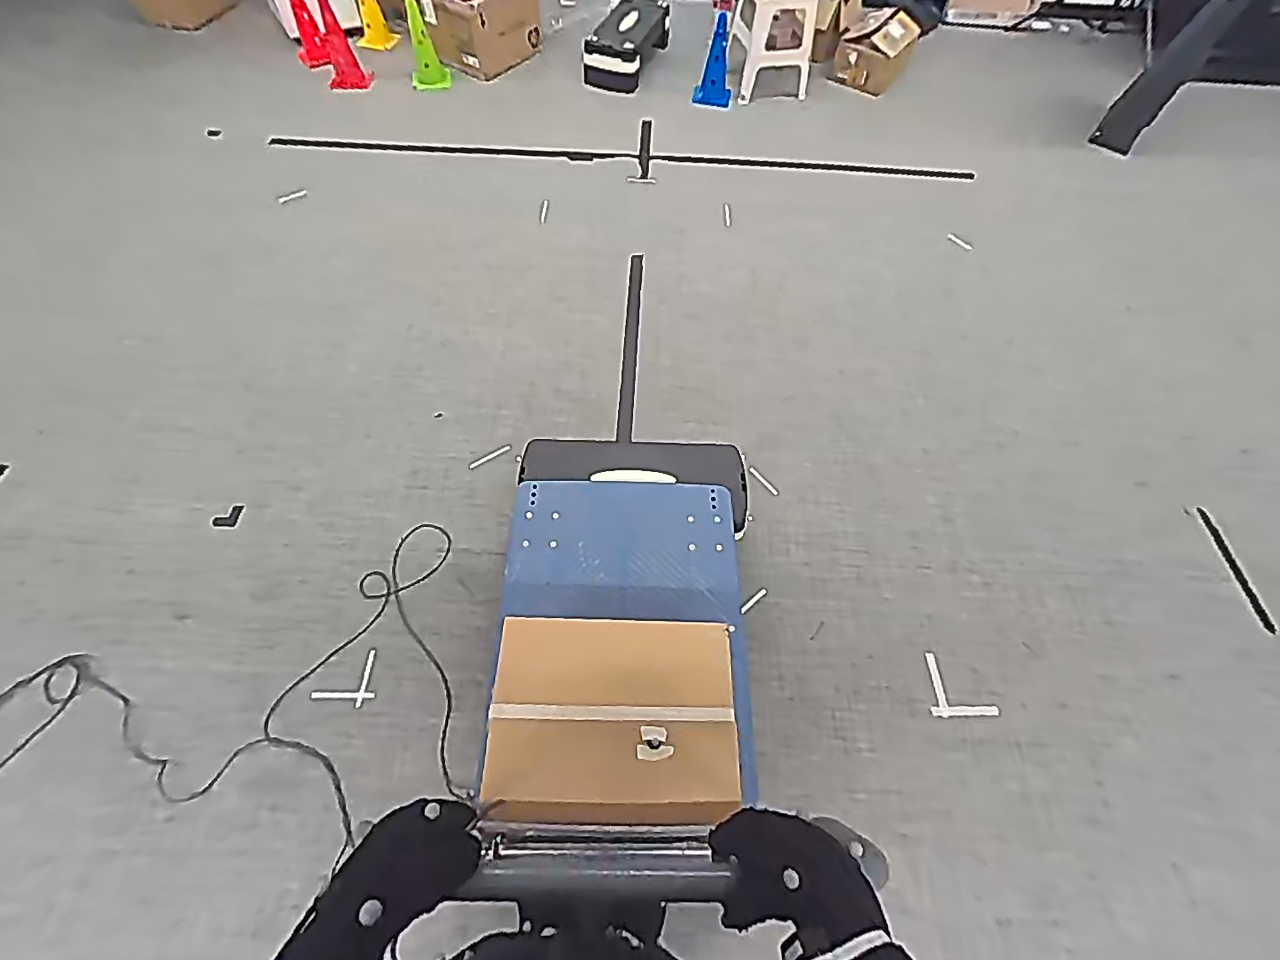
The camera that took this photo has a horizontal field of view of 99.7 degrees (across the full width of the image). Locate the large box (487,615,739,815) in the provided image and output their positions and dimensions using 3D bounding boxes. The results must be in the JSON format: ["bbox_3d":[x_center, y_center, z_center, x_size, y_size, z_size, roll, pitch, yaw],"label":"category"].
[{"bbox_3d":[-0.052,0.462,1.045,0.408,0.320,0.320,3,59,-3],"label":"large box"}]
